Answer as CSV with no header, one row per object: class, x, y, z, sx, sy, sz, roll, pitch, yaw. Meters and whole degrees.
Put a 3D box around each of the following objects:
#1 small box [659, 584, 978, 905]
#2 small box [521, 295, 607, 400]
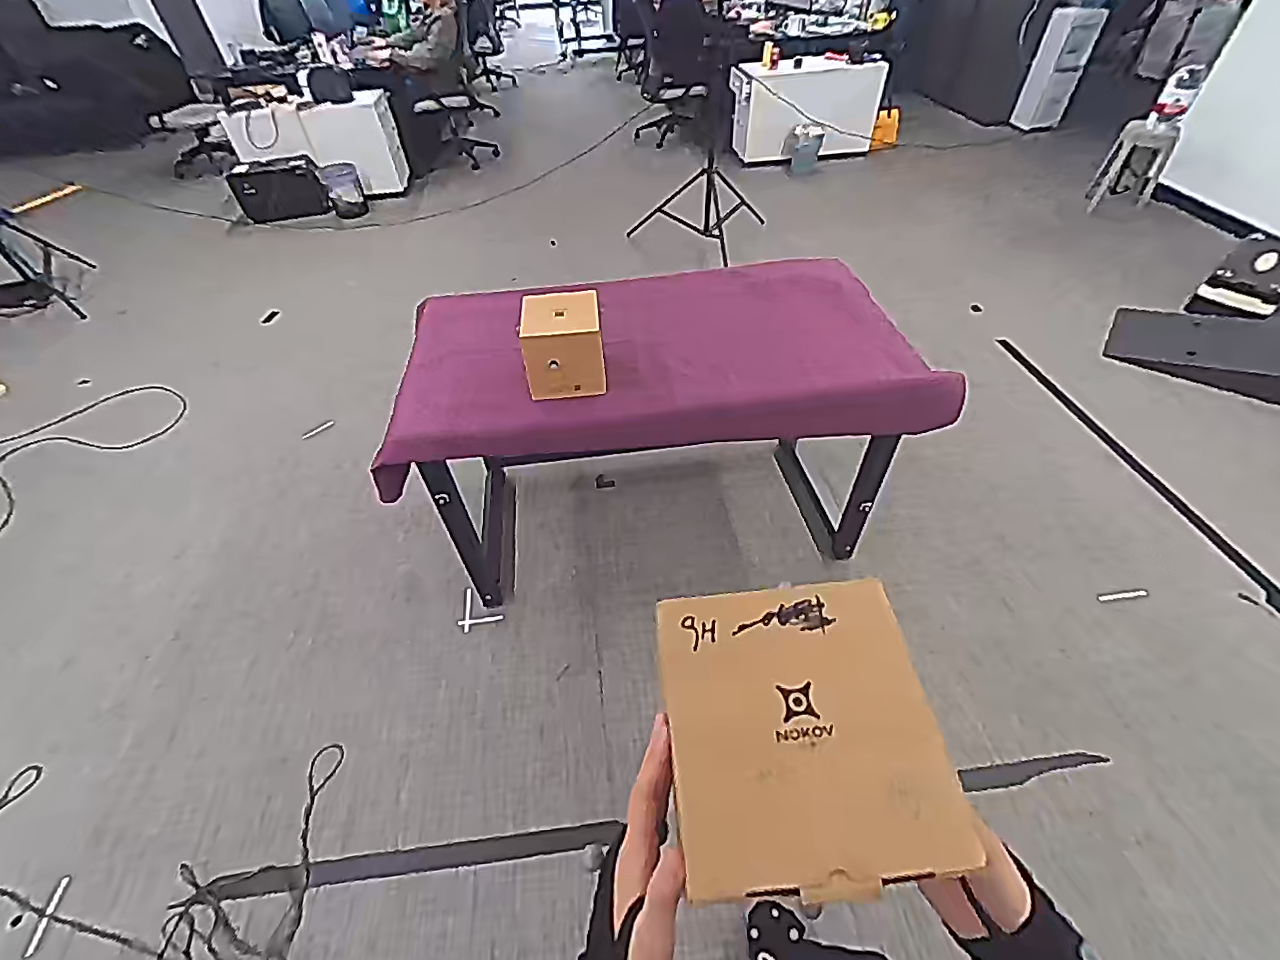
small box,0.106,0.199,0.411,0.168,0.176,0.179,-5,55,-1
small box,-0.167,-0.294,1.222,0.168,0.176,0.179,-6,46,-3
